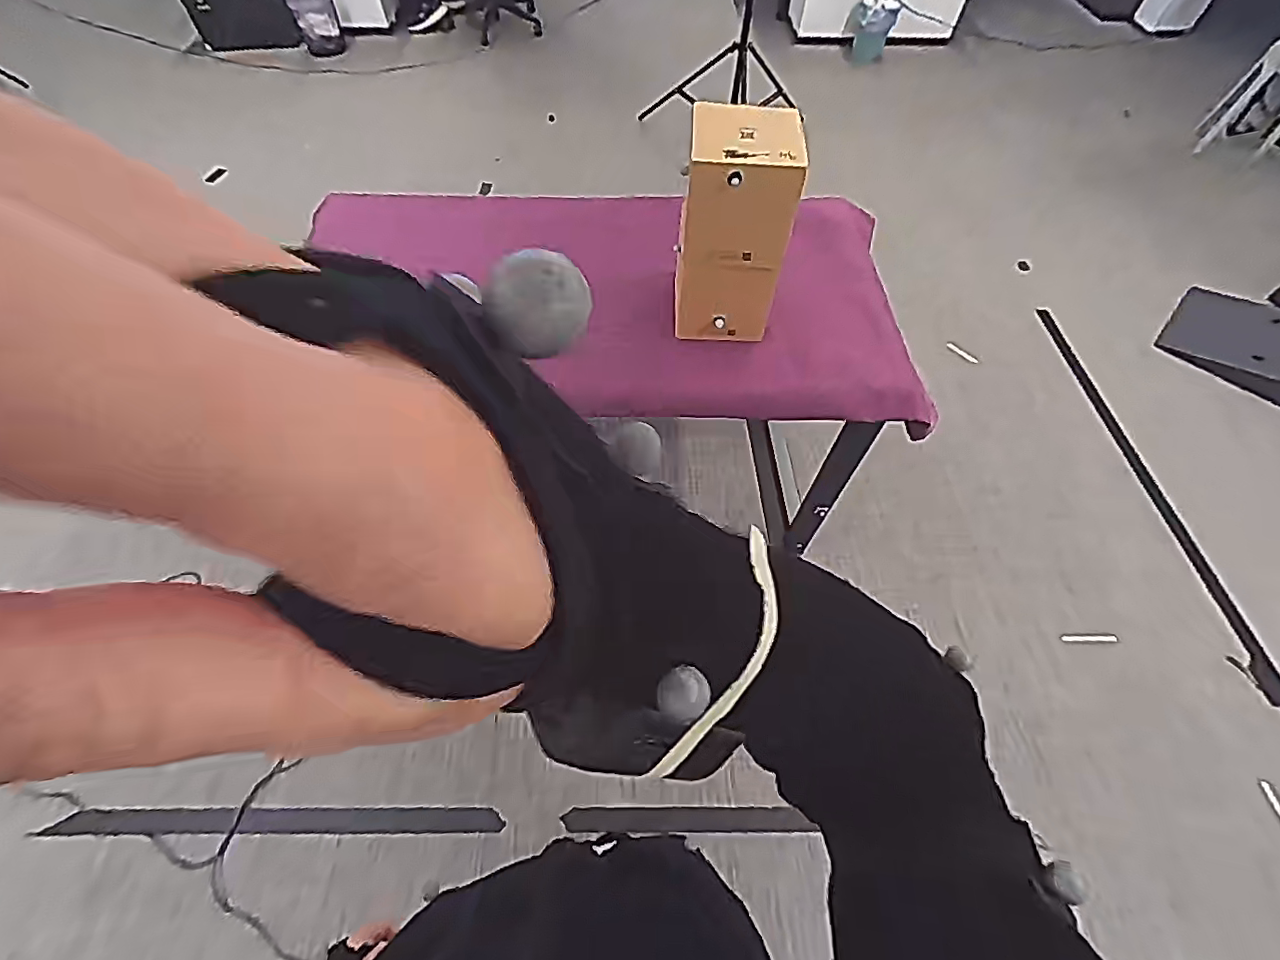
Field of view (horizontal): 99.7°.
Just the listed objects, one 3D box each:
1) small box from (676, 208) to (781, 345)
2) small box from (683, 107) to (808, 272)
[{"bbox_3d":[0.154,-0.377,1.005,0.168,0.176,0.179,2,58,0],"label":"small box"},{"bbox_3d":[0.158,-0.461,0.864,0.168,0.176,0.179,4,57,2],"label":"small box"}]
